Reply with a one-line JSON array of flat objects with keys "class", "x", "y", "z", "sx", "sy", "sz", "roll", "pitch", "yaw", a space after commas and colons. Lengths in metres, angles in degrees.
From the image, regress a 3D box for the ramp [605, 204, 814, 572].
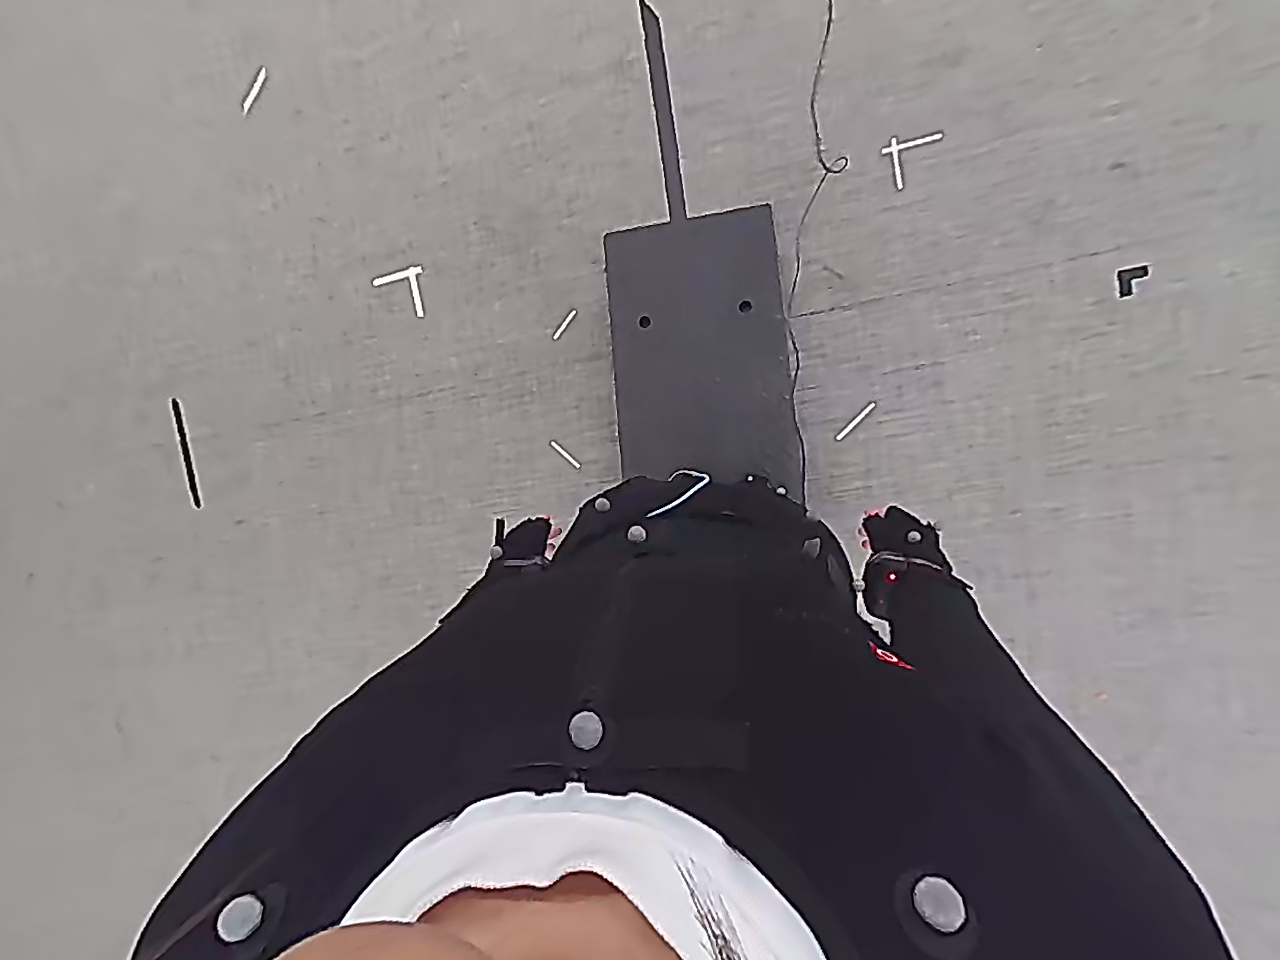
[{"class": "ramp", "x": 0.171, "y": -0.261, "z": 1.507, "sx": 0.509, "sy": 0.206, "sz": 0.991, "roll": -8, "pitch": 92, "yaw": 11}]
